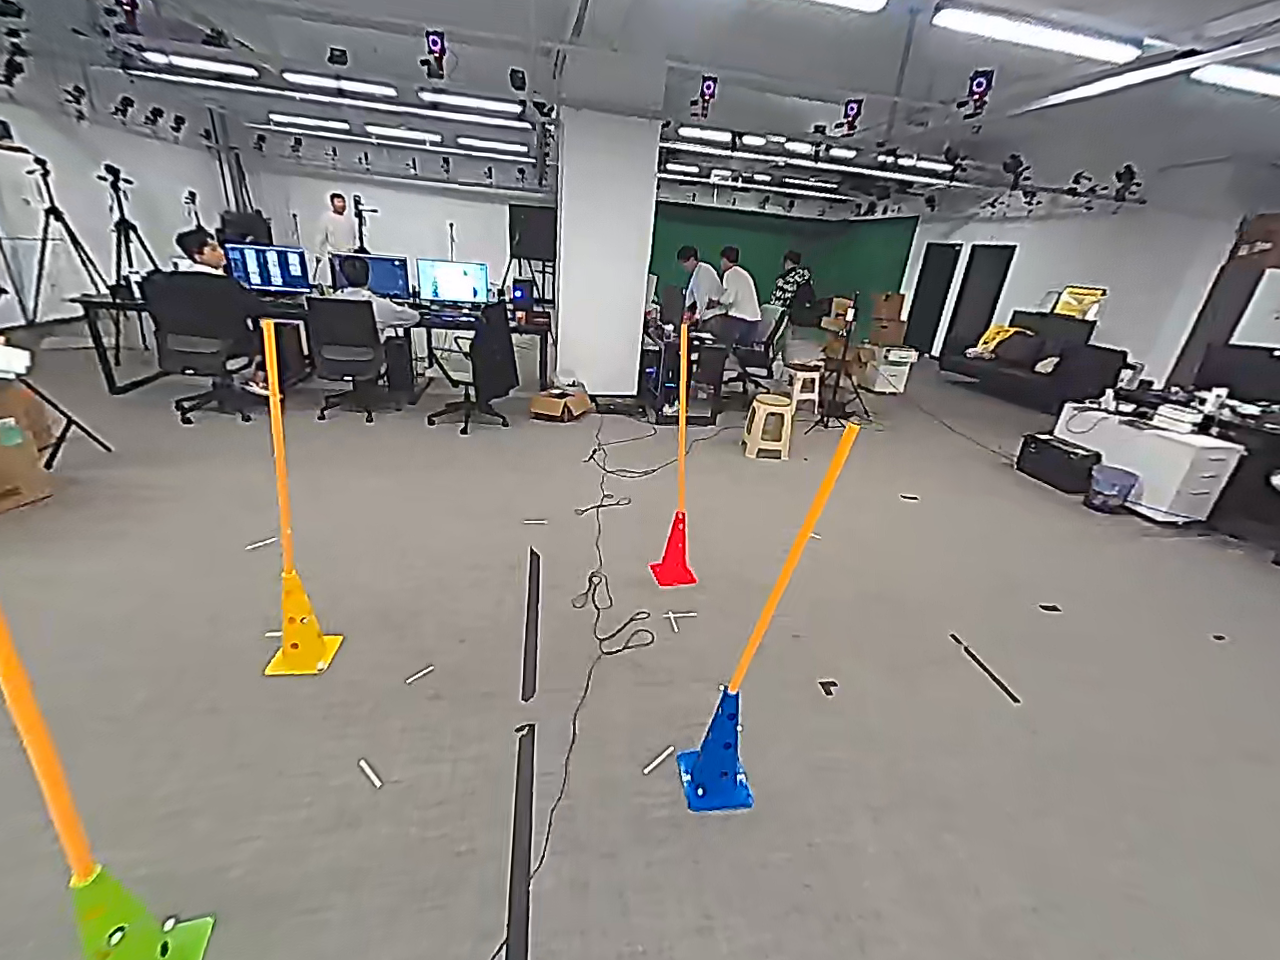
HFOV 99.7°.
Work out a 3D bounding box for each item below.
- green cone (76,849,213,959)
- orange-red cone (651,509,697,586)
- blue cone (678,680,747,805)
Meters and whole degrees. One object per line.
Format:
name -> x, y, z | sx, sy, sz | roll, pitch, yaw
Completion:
green cone -> -1.009, 0.861, 1.045 | 0.200, 0.368, 0.202 | -3, 22, -20
orange-red cone -> 0.181, 0.307, 2.609 | 0.199, 0.360, 0.198 | -2, 23, -14
blue cone -> 0.237, 0.756, 1.594 | 0.193, 0.380, 0.192 | 2, 22, -8
